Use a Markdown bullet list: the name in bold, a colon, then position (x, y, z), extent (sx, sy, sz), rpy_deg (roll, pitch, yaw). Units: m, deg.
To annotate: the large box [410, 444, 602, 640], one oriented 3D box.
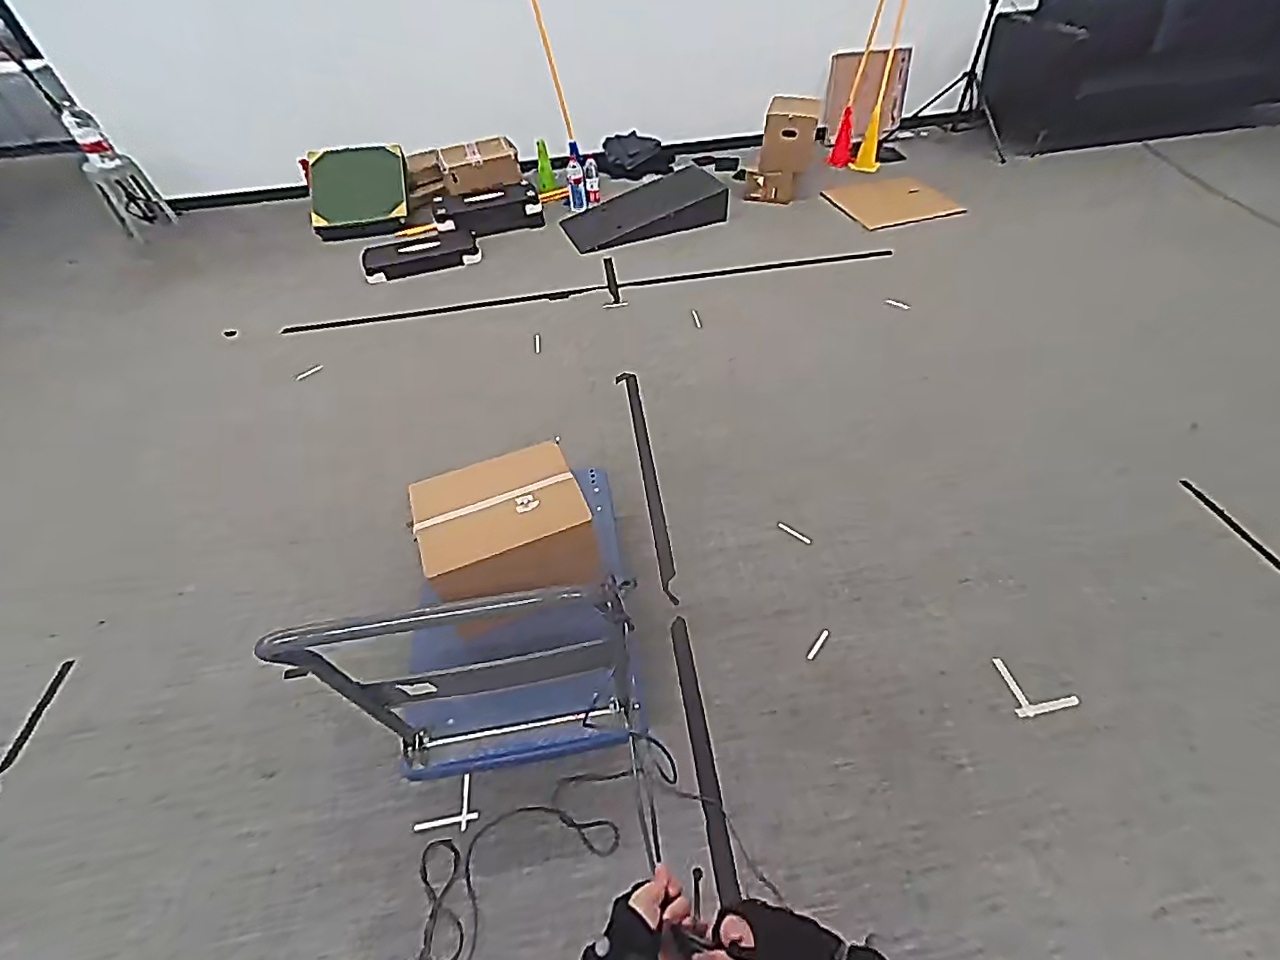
- **large box**: position (-0.351, 0.164, 1.458), extent (0.408, 0.320, 0.320), rpy_deg (-19, 50, -14)
